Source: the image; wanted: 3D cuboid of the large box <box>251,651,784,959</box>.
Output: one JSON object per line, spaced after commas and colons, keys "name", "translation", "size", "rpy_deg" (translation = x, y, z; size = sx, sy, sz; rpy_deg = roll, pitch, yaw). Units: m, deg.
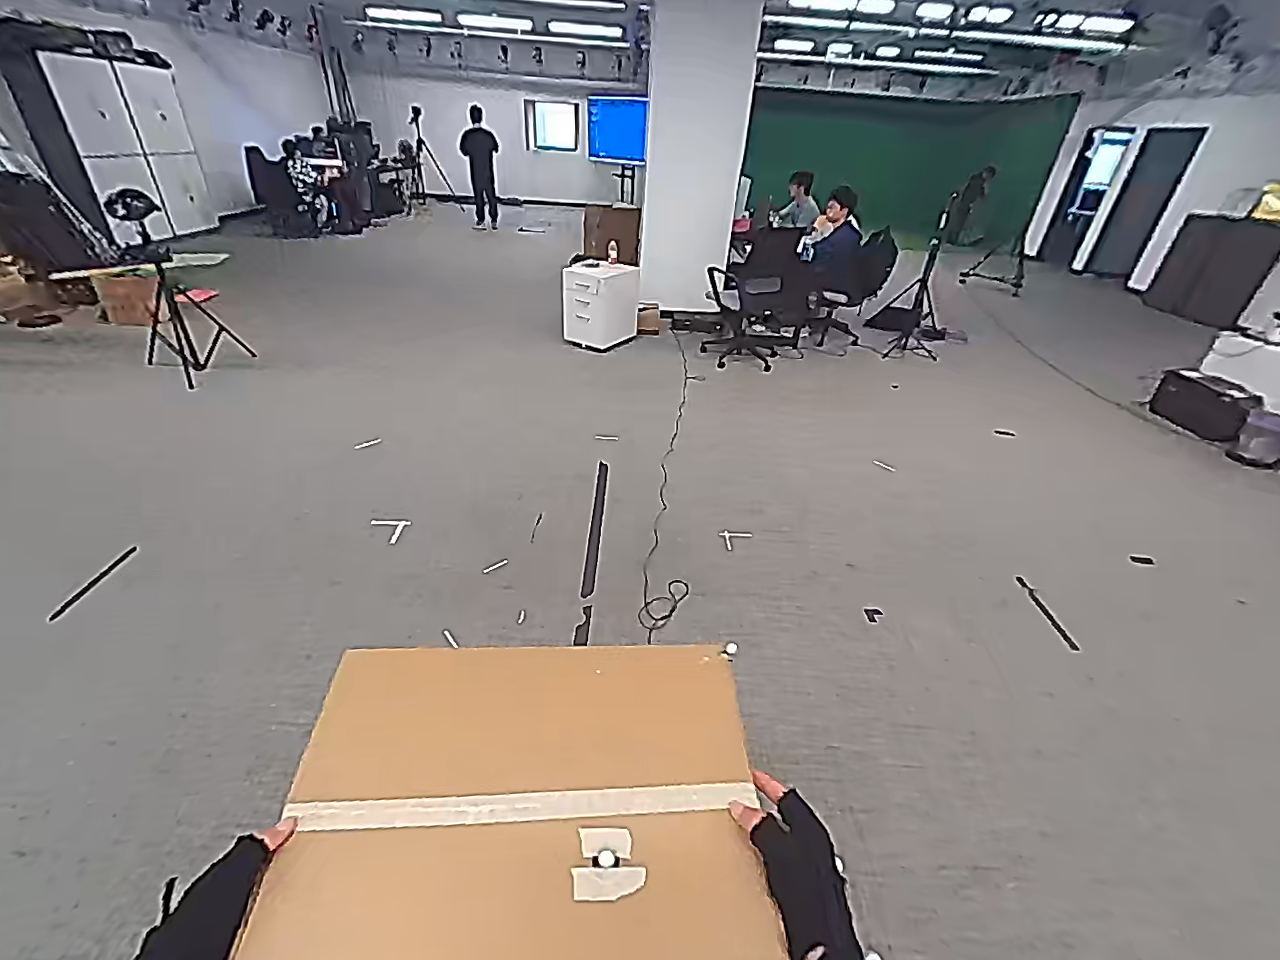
{"name": "large box", "translation": [-0.106, 0.404, 0.581], "size": [0.408, 0.320, 0.320], "rpy_deg": [2, 42, -5]}
